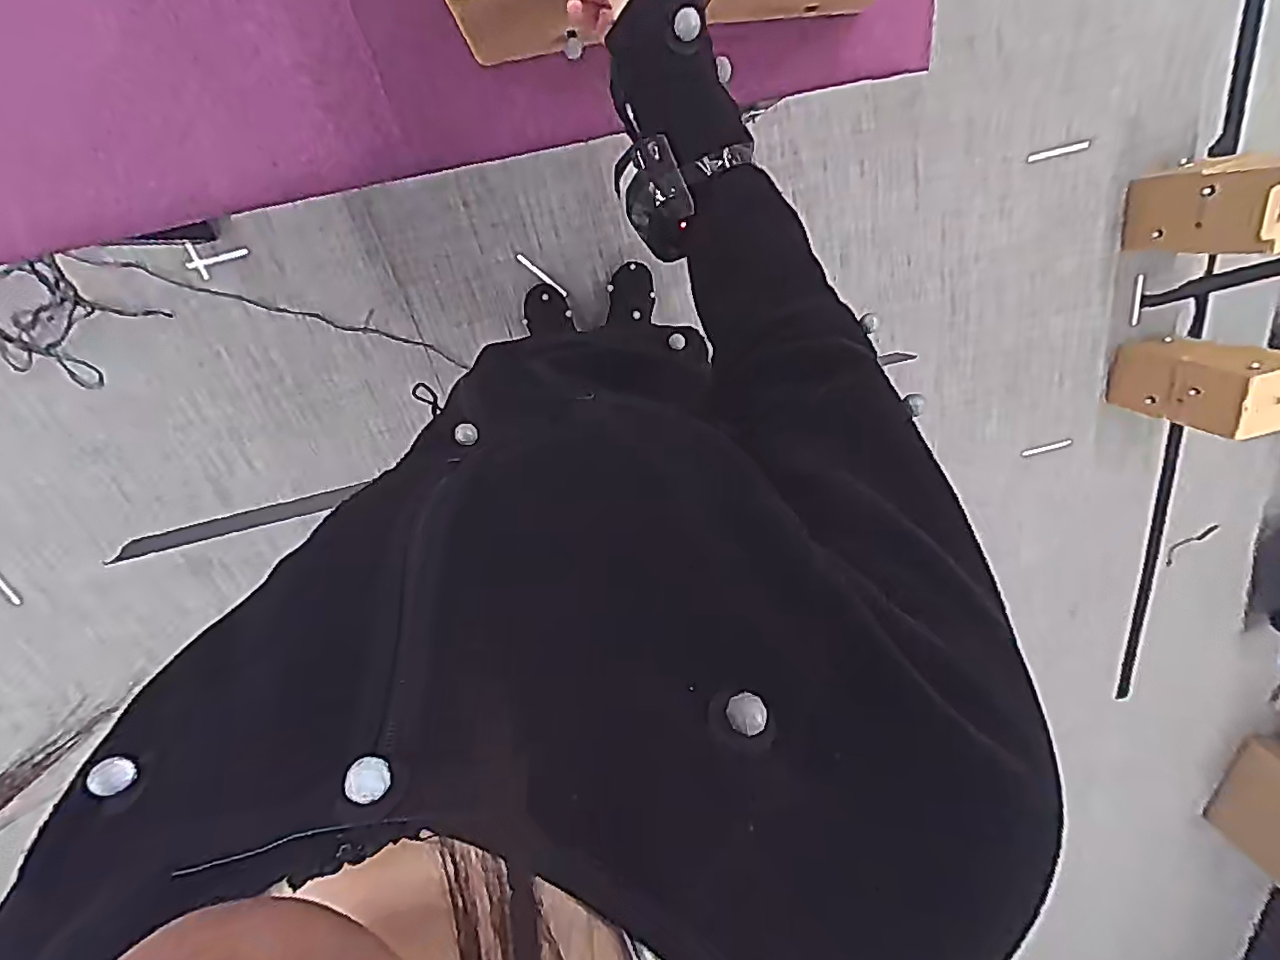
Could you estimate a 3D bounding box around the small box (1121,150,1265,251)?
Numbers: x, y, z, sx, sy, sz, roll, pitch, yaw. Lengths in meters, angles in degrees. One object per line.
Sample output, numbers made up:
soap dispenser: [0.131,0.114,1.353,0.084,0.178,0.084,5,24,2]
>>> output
small box: [1.317,-0.666,1.303,0.168,0.176,0.179,-17,114,-1]

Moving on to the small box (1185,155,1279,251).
small box: [1.338,-0.594,1.157,0.179,0.176,0.168,-15,115,-2]

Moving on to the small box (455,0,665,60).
small box: [-0.069,-0.450,0.406,0.179,0.176,0.168,-14,115,-2]

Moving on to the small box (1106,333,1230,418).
small box: [1.442,-0.291,1.489,0.168,0.176,0.179,-11,116,-3]

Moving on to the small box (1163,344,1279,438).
small box: [1.475,-0.227,1.343,0.179,0.176,0.168,-15,116,0]
